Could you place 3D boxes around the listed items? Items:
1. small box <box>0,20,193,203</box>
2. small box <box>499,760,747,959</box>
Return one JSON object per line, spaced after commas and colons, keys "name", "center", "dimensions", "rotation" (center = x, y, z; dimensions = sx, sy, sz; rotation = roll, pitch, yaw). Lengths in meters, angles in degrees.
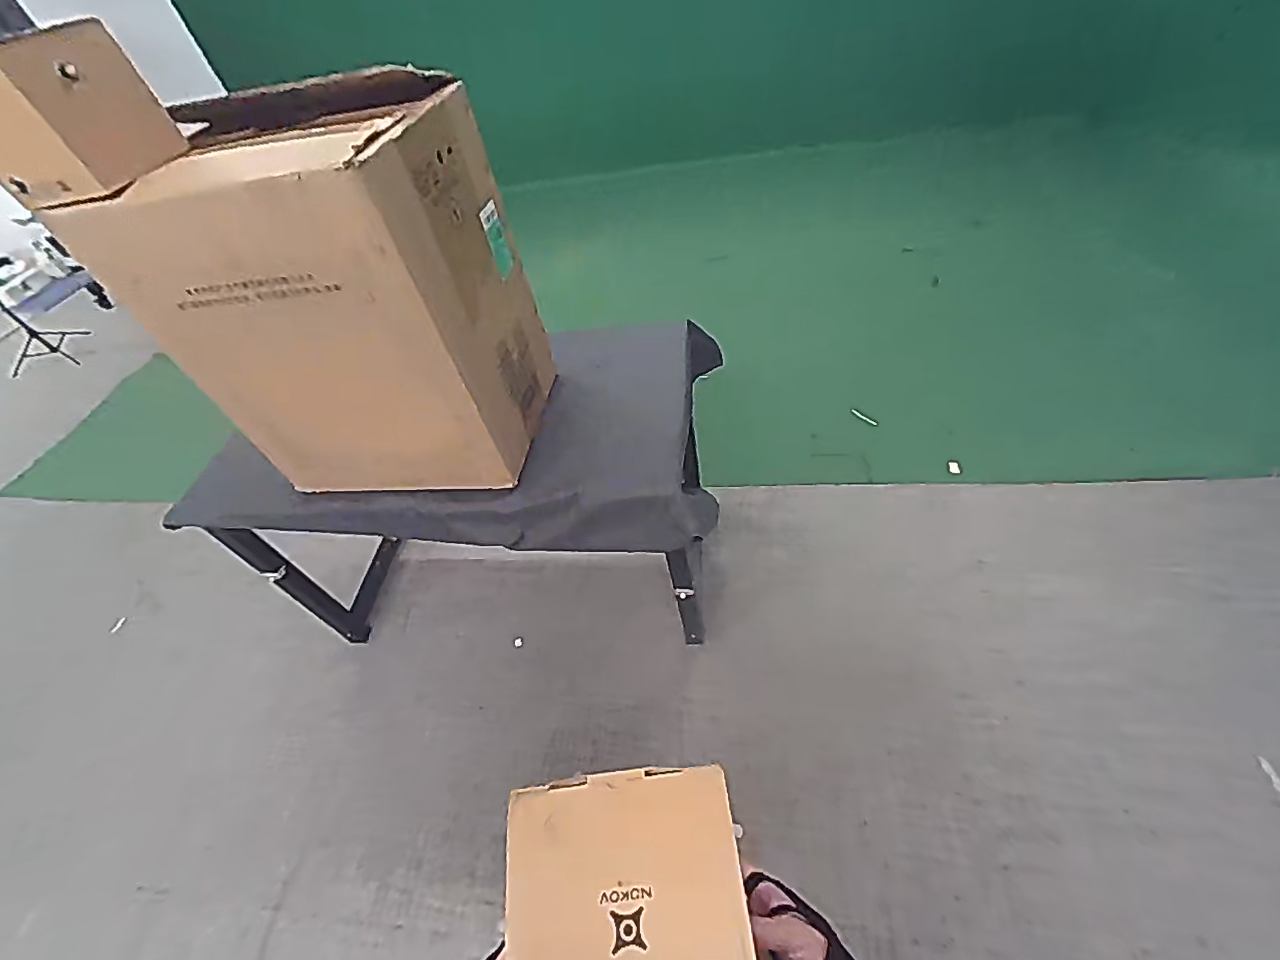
{"name": "small box", "center": [-0.801, -0.507, 0.762], "dimensions": [0.168, 0.176, 0.179], "rotation": [-1, 49, 14]}
{"name": "small box", "center": [-0.011, 0.339, 0.432], "dimensions": [0.168, 0.176, 0.179], "rotation": [-6, 57, -1]}
